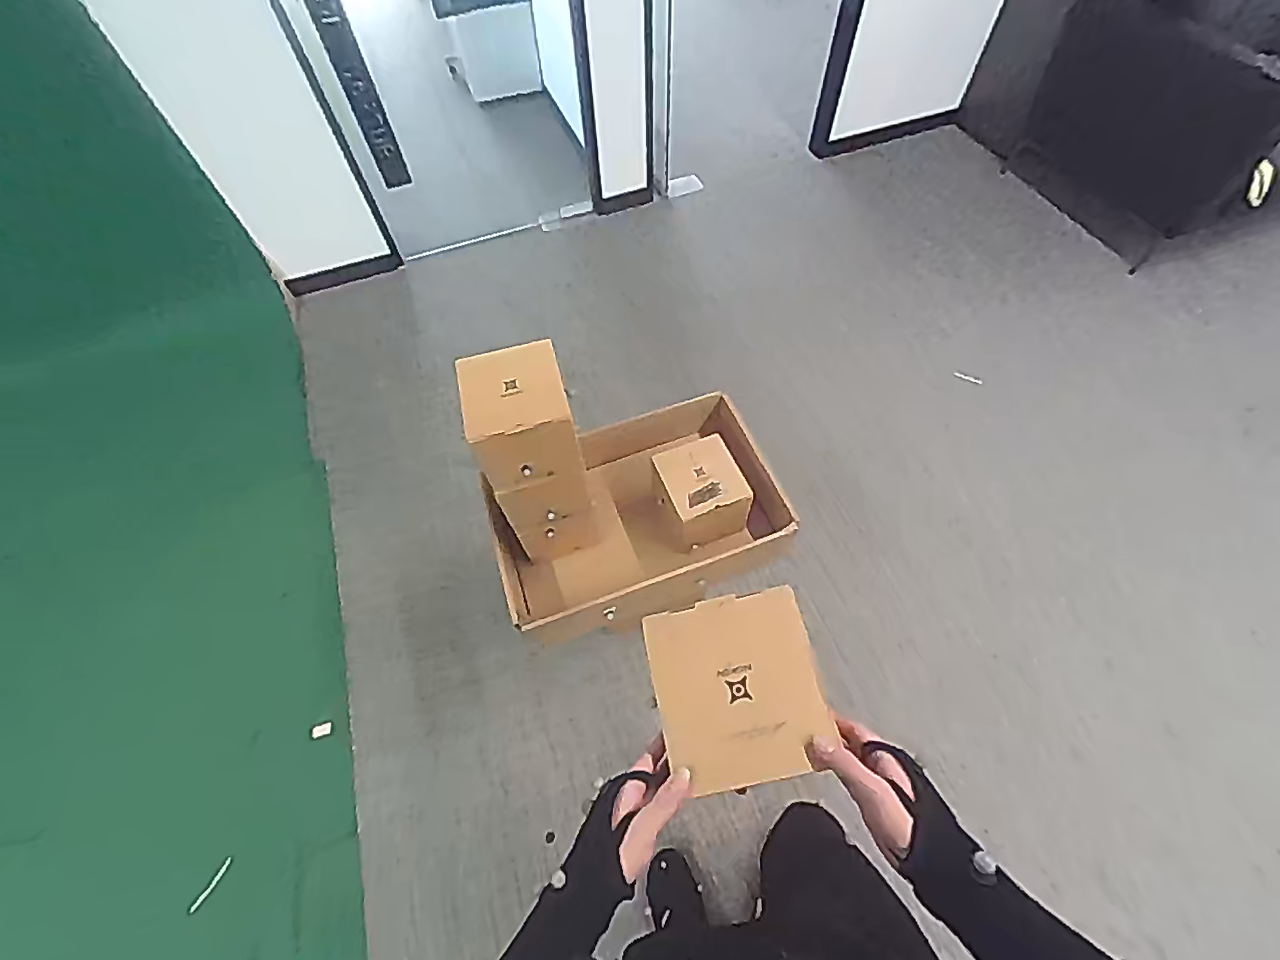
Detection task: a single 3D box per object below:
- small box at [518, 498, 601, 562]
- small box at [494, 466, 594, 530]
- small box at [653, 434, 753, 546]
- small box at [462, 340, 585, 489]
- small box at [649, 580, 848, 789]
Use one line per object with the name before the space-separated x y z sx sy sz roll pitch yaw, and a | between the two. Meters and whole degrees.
small box | -0.192 0.059 1.218 0.168 0.176 0.179 -17 60 -8
small box | -0.196 -0.026 1.078 0.168 0.176 0.179 -15 60 -6
small box | 0.136 0.032 1.220 0.168 0.176 0.179 -19 59 -9
small box | -0.198 -0.110 0.939 0.168 0.176 0.179 -14 61 -6
small box | 0.109 0.232 0.610 0.168 0.176 0.179 -12 65 2
